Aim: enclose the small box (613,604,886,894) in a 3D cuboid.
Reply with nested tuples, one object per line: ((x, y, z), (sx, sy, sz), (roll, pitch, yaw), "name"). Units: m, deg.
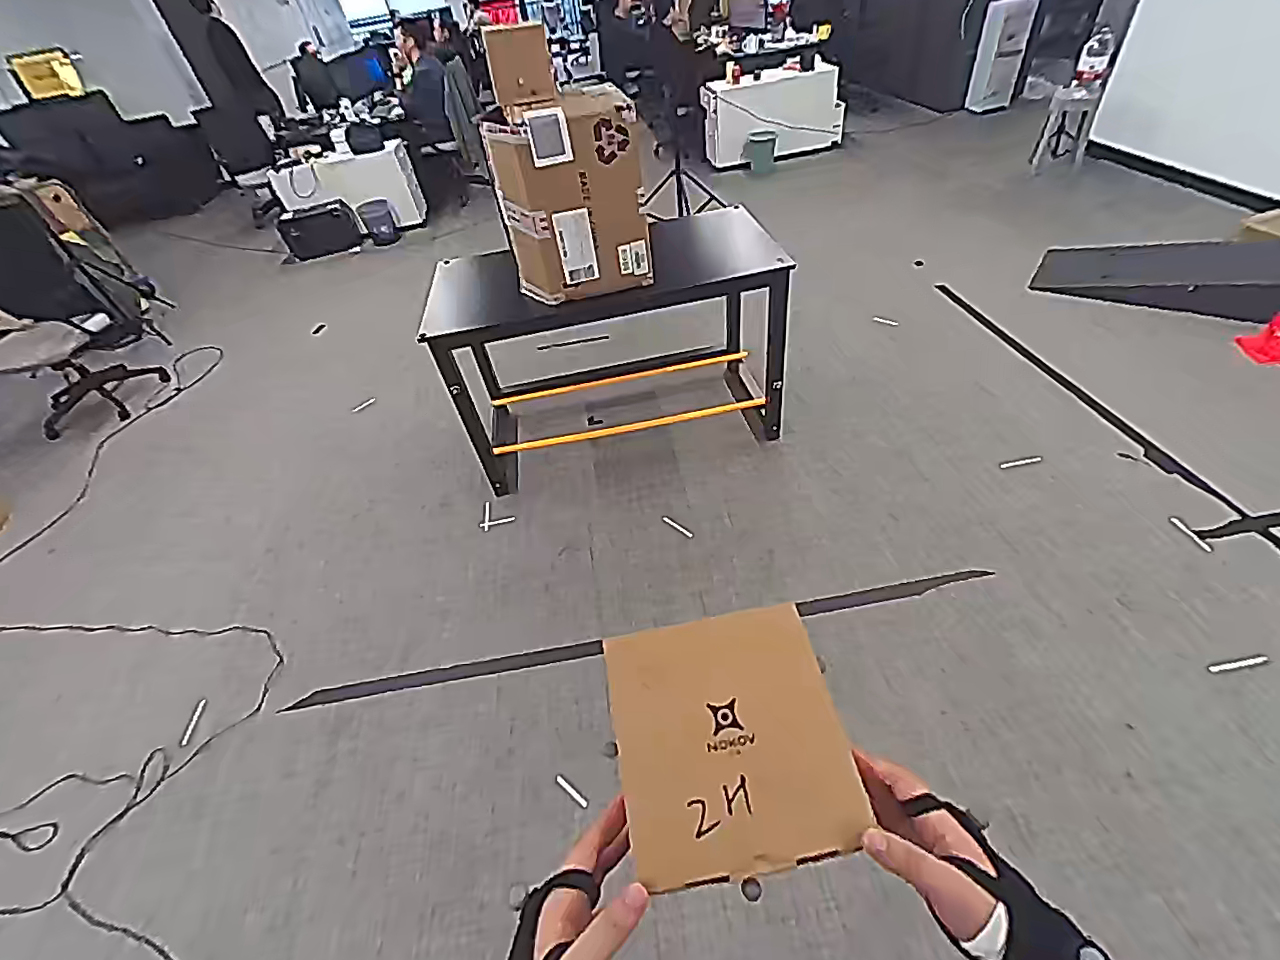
((0.075, 0.233, 0.465), (0.168, 0.176, 0.179), (-11, 52, -2), "small box")

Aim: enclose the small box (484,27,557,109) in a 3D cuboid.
((-0.341, -1.172, 1.538), (0.168, 0.176, 0.179), (-13, 42, -7), "small box")
